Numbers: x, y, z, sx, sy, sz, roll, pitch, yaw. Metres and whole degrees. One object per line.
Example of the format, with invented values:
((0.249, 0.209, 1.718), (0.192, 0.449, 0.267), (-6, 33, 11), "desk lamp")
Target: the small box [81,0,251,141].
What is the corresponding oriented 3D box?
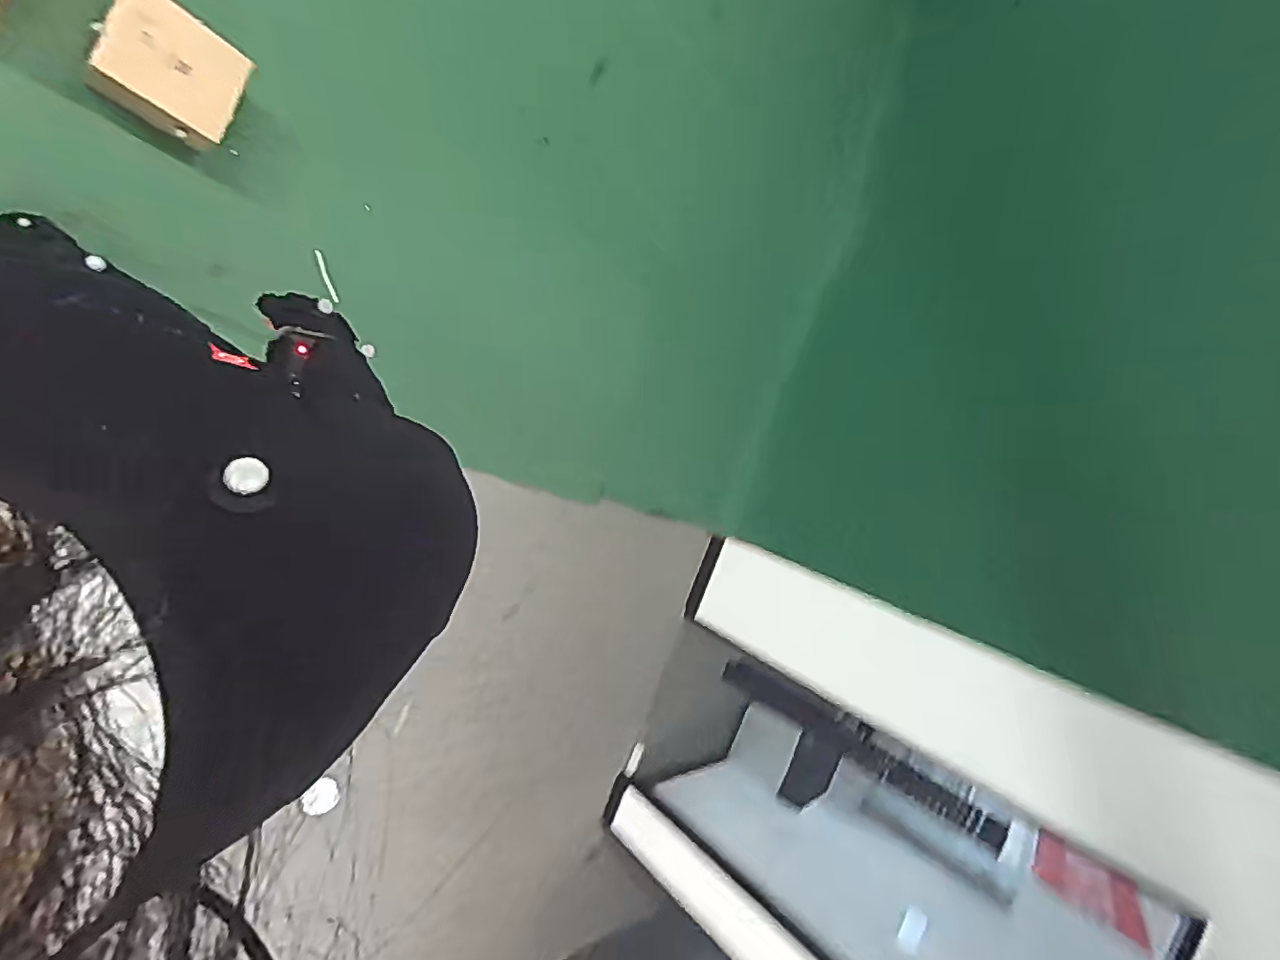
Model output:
((-0.848, -0.741, 0.969), (0.179, 0.176, 0.168), (25, 88, -51), "small box")
